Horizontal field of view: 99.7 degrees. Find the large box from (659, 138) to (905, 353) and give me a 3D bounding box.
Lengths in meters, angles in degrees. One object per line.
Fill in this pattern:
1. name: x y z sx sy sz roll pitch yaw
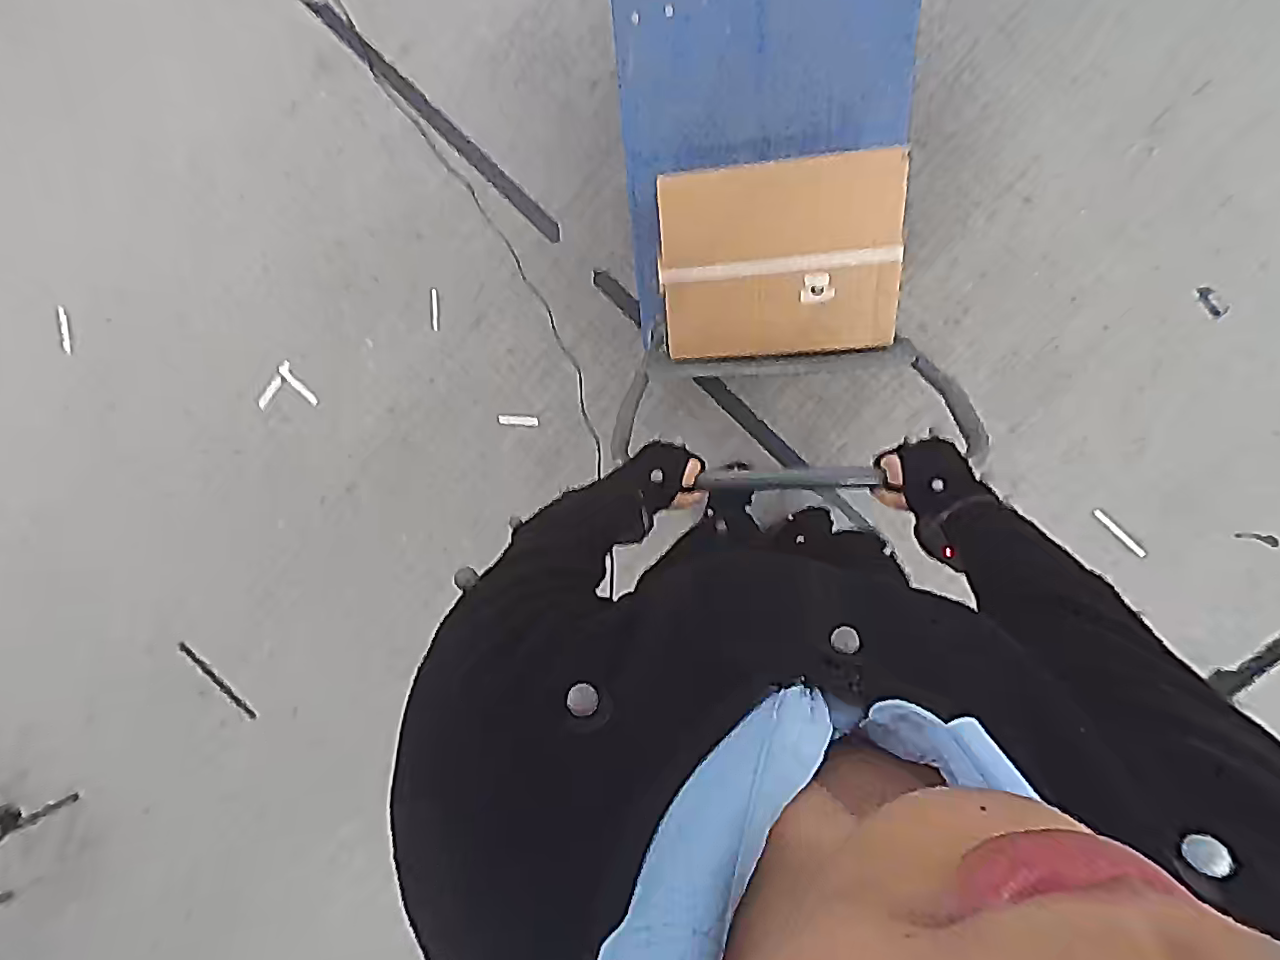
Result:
1. large box: 0.263 -0.456 1.086 0.408 0.320 0.320 -2 115 10
